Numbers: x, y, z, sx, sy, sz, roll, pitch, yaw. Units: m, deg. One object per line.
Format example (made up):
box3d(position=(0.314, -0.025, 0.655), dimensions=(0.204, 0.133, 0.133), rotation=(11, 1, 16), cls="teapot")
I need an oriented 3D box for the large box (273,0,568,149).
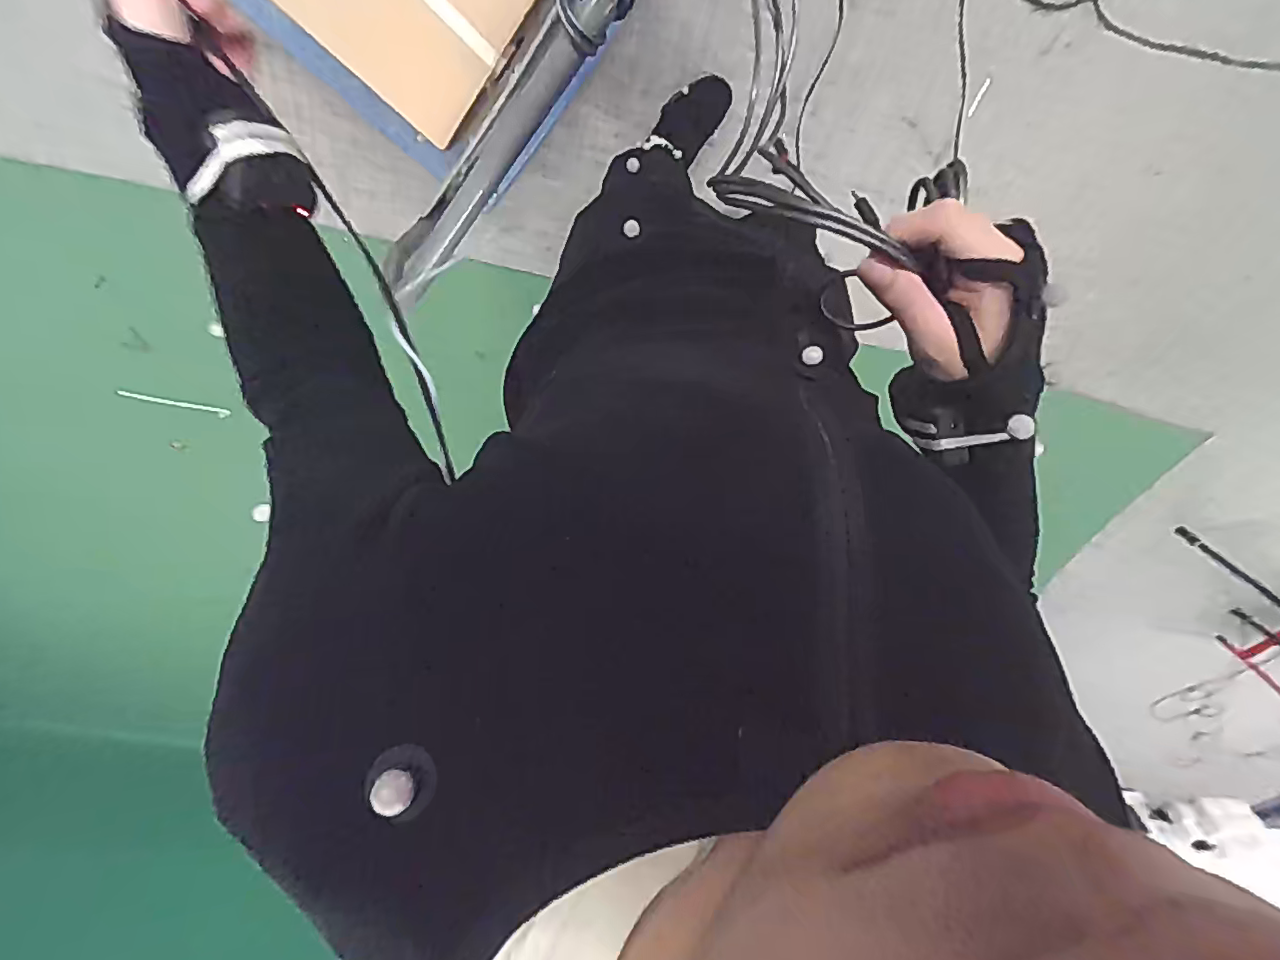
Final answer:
box3d(position=(-0.347, -0.805, 0.820), dimensions=(0.408, 0.320, 0.320), rotation=(36, 120, -26), cls="large box")
